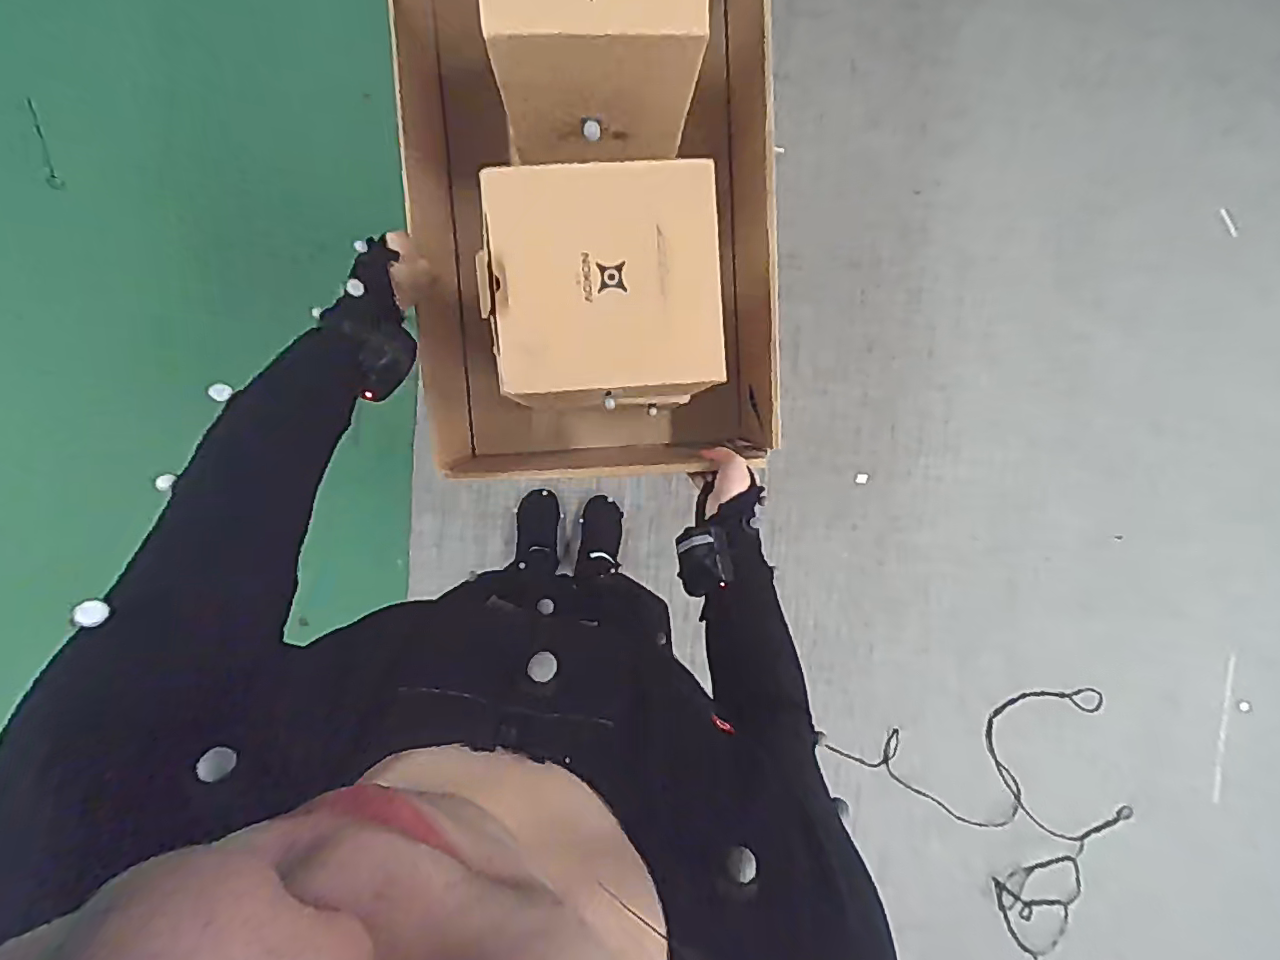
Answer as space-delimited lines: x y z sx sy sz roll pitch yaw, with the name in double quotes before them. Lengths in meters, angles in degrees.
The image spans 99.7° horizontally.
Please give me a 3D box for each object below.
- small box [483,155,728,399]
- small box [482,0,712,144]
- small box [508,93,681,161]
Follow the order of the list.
"small box" -0.029 -0.163 0.484 0.179 0.176 0.168 -5 97 -4
"small box" -0.037 -0.416 0.452 0.168 0.176 0.179 -2 98 -4
"small box" -0.048 -0.440 0.615 0.179 0.176 0.168 -1 97 -3
